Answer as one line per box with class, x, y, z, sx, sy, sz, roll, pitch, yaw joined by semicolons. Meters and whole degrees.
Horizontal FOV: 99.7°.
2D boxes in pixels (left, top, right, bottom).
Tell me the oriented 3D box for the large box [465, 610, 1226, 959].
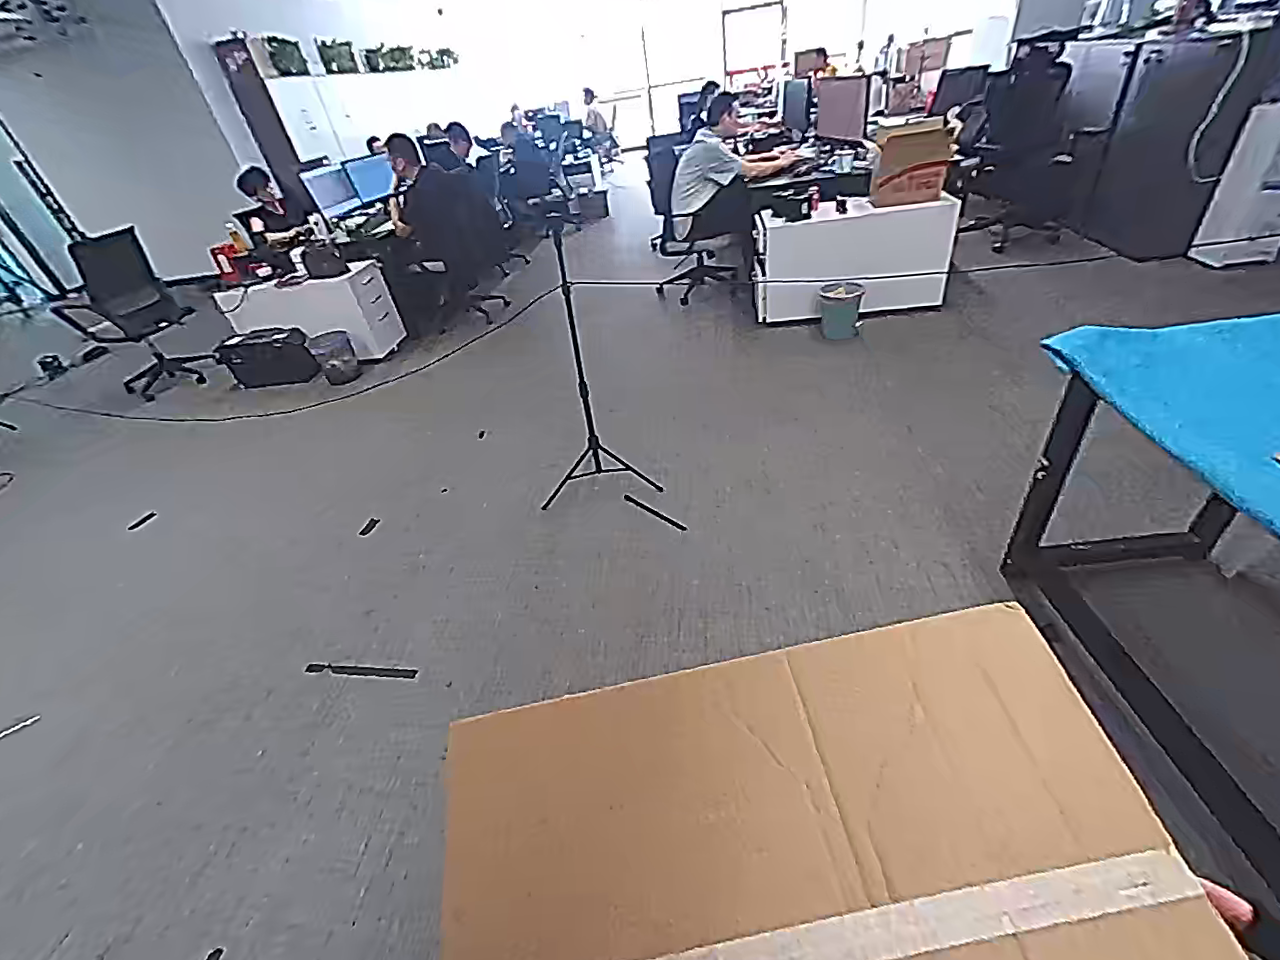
large box;0.115;0.342;0.417;0.408;0.320;0.320;-13;55;1
